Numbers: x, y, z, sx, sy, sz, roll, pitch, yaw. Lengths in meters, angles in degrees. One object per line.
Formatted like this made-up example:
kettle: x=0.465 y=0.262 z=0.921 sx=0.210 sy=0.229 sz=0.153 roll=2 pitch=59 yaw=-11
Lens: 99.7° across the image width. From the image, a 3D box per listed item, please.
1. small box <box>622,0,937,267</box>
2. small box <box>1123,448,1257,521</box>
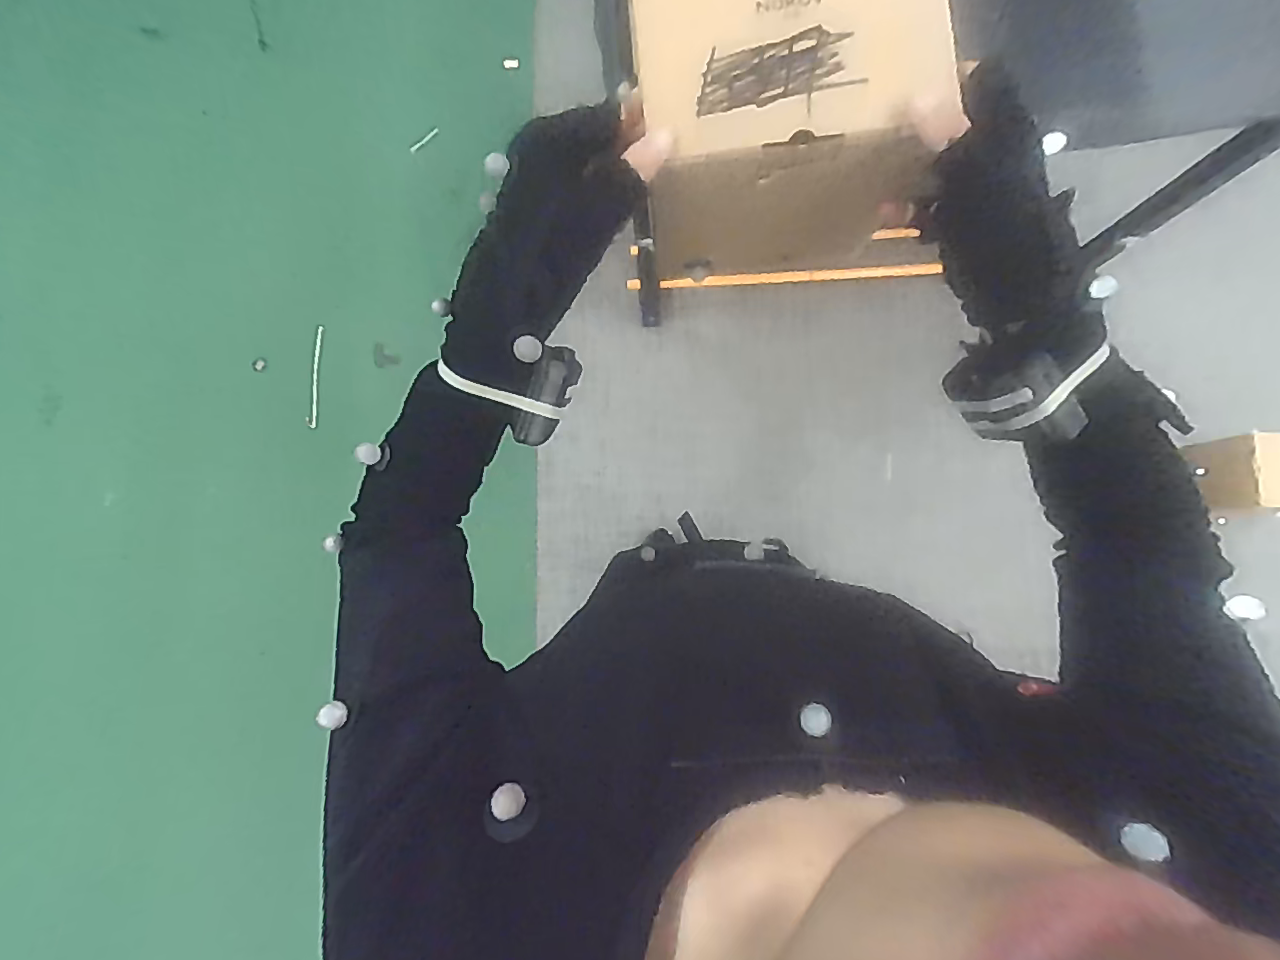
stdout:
small box: x=0.078 y=-0.266 z=0.378 sx=0.168 sy=0.176 sz=0.179 roll=-6 pitch=88 yaw=3
small box: x=1.408 y=0.017 z=1.396 sx=0.179 sy=0.176 sz=0.168 roll=3 pitch=81 yaw=3
